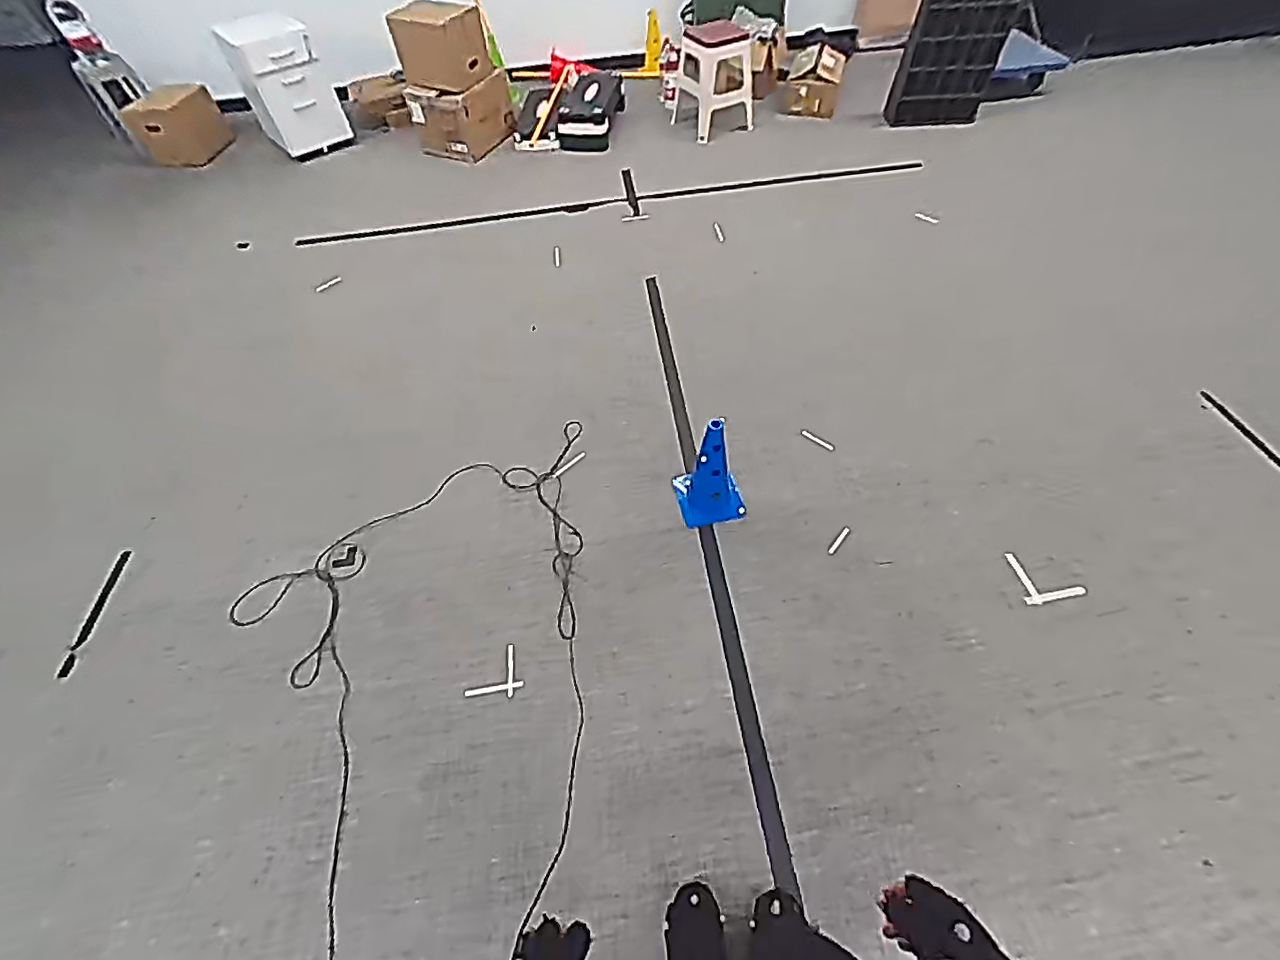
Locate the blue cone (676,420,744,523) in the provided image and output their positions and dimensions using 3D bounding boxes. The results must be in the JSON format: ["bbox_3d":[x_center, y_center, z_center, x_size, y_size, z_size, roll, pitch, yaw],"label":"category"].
[{"bbox_3d":[0.216,-0.042,1.619,0.192,0.380,0.193,-10,54,-5],"label":"blue cone"}]
